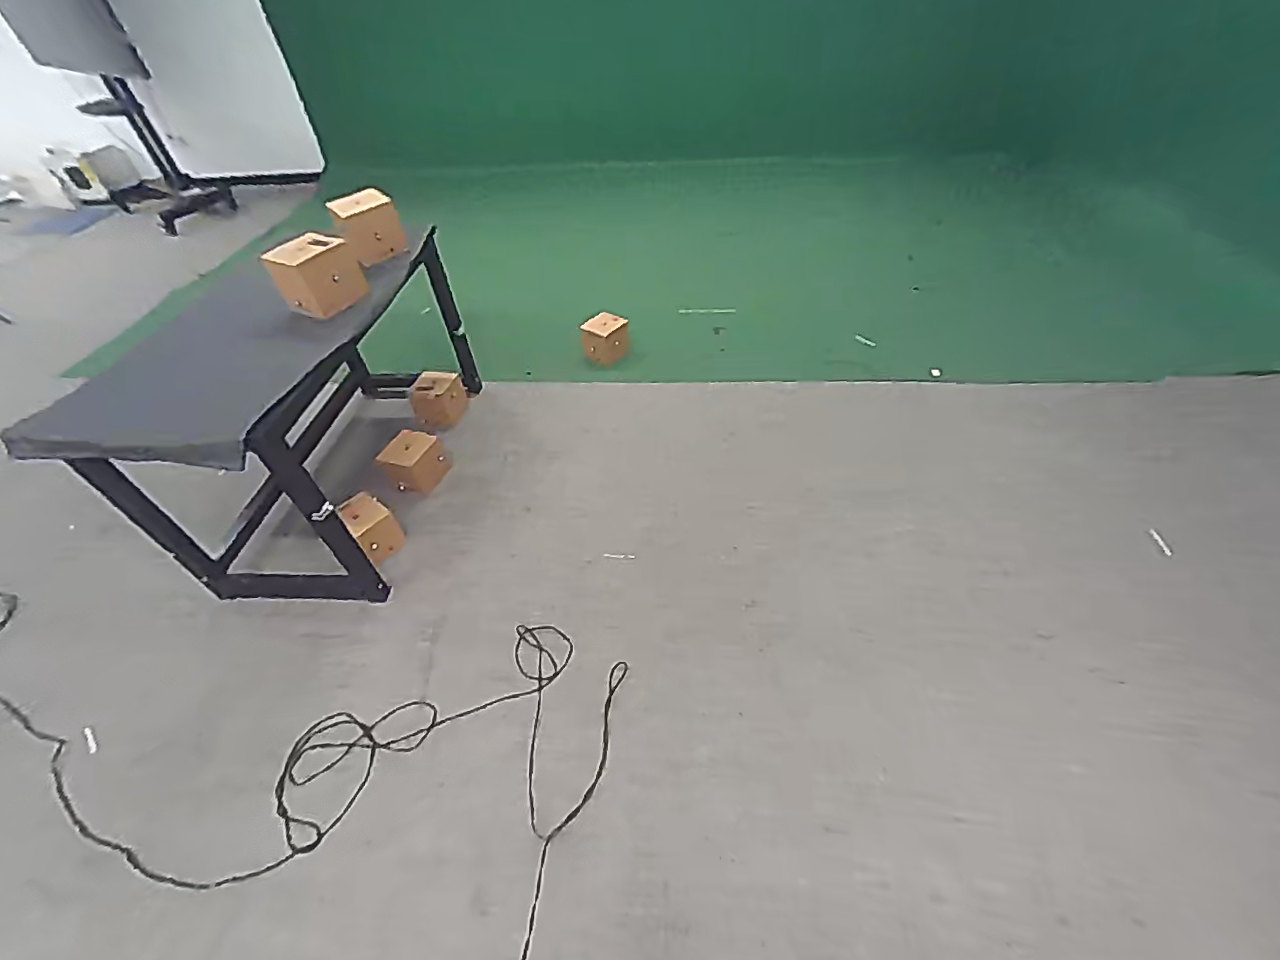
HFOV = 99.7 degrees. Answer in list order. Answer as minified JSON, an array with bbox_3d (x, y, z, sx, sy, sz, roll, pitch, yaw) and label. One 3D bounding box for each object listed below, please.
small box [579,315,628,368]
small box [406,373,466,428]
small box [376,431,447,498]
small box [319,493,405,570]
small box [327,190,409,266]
[{"bbox_3d":[-0.173,-0.674,2.638,0.168,0.176,0.179,28,54,28],"label":"small box"},{"bbox_3d":[-0.882,-0.346,2.360,0.168,0.176,0.179,5,45,8],"label":"small box"},{"bbox_3d":[-0.867,-0.058,2.079,0.168,0.176,0.179,11,49,15],"label":"small box"},{"bbox_3d":[-0.944,0.182,1.851,0.179,0.176,0.168,26,53,27],"label":"small box"},{"bbox_3d":[-0.914,-0.849,1.830,0.168,0.176,0.179,-34,52,-23],"label":"small box"}]
